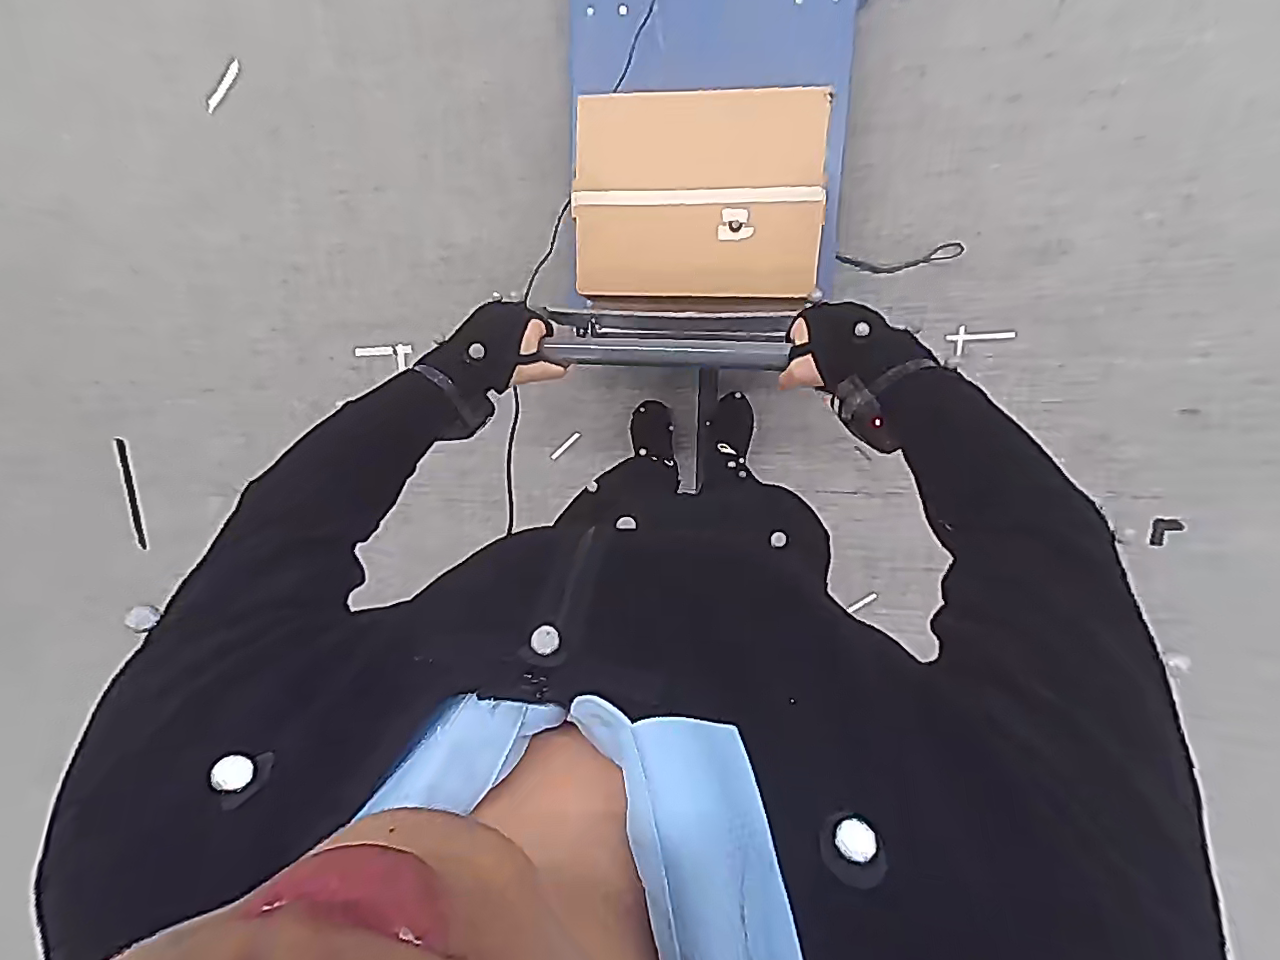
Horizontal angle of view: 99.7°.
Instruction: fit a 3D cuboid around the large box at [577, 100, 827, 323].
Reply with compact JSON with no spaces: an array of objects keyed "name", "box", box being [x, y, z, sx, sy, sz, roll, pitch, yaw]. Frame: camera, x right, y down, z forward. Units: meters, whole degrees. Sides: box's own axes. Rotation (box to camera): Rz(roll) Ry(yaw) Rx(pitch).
[{"name":"large box","box":[0.108,-0.475,1.034,0.408,0.320,0.320,3,102,7]}]
